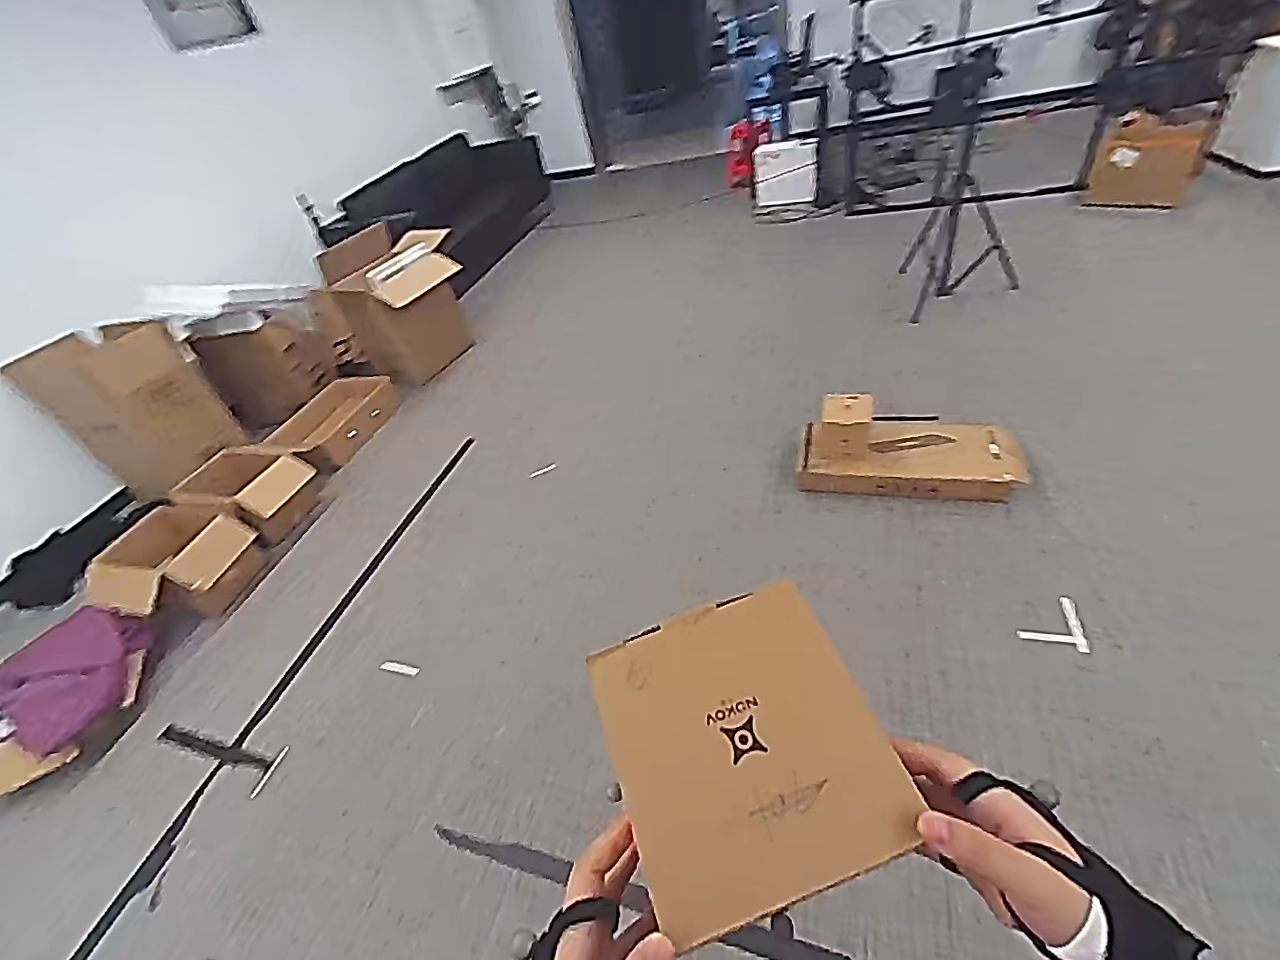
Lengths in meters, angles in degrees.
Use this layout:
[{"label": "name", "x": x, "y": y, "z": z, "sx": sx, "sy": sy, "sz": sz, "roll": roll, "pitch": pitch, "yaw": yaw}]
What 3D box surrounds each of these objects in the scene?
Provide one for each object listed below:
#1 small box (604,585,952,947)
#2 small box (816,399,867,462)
[{"label": "small box", "x": 0.082, "y": 0.213, "z": 0.407, "sx": 0.168, "sy": 0.176, "sz": 0.179, "roll": -18, "pitch": 51, "yaw": -6}, {"label": "small box", "x": 0.753, "y": -0.185, "z": 2.020, "sx": 0.168, "sy": 0.176, "sz": 0.179, "roll": 5, "pitch": 45, "yaw": 20}]
